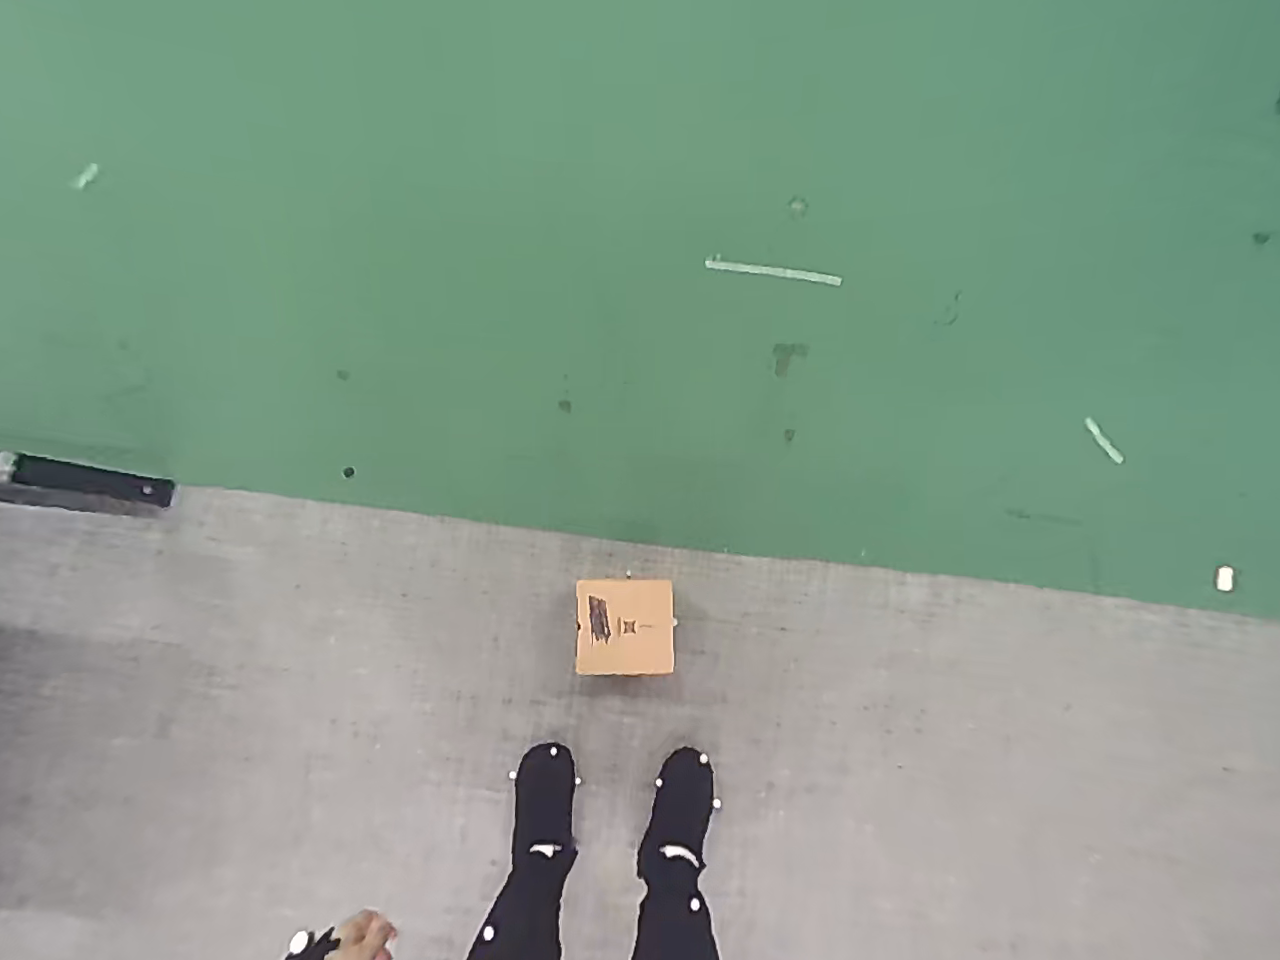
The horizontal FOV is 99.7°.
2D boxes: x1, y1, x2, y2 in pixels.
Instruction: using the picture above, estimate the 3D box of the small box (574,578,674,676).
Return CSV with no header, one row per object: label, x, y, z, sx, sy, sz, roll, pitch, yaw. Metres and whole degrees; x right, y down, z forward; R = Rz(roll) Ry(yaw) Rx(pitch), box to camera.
small box,-0.028,0.273,1.027,0.179,0.176,0.168,0,81,-1
